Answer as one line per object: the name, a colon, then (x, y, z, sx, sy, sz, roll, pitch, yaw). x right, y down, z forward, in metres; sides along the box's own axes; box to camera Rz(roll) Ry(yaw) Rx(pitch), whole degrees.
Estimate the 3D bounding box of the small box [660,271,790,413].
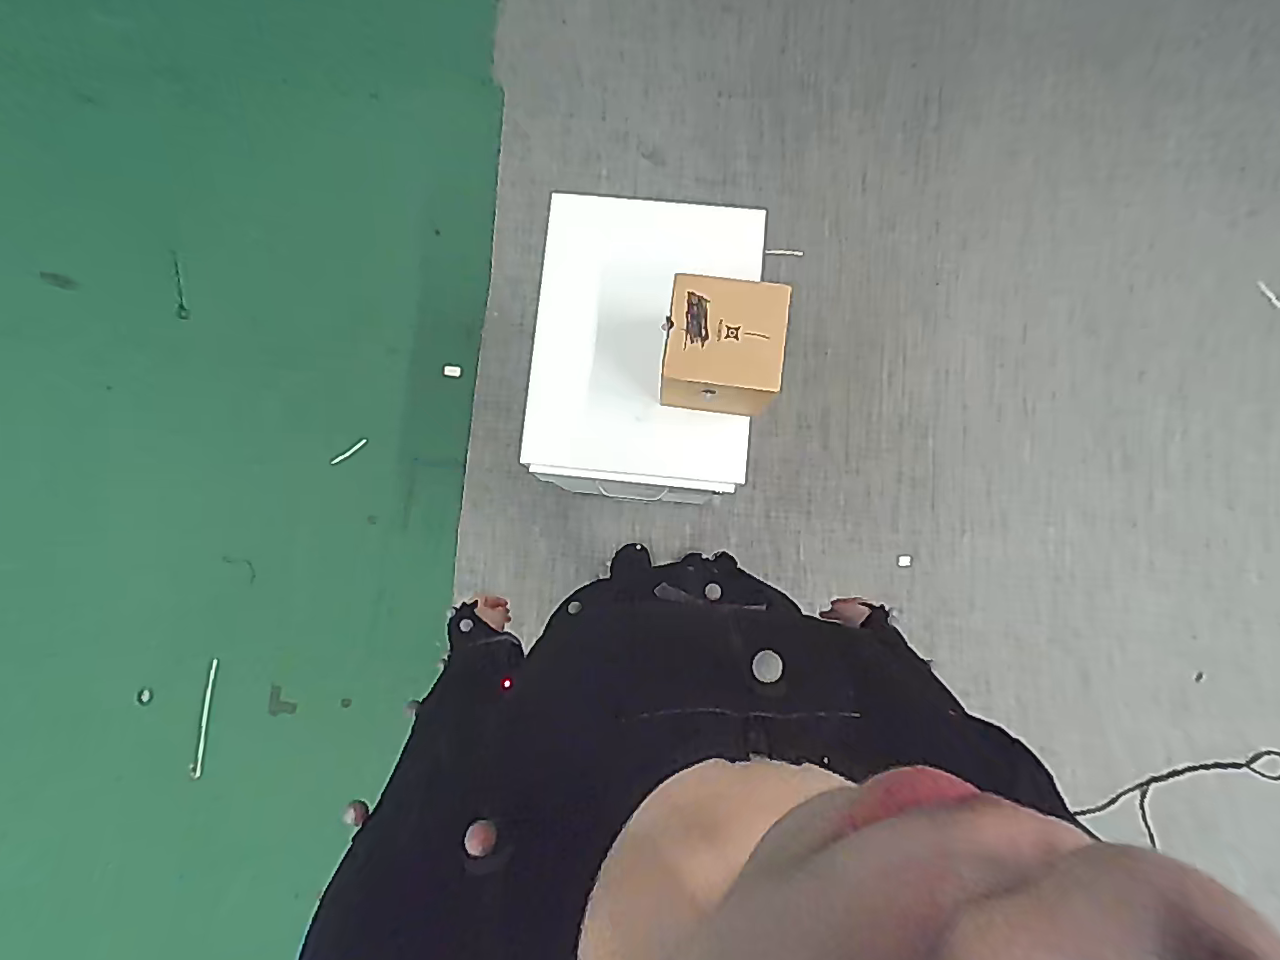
small box: (0.129, -0.214, 0.878, 0.179, 0.176, 0.168, 8, 84, 1)
